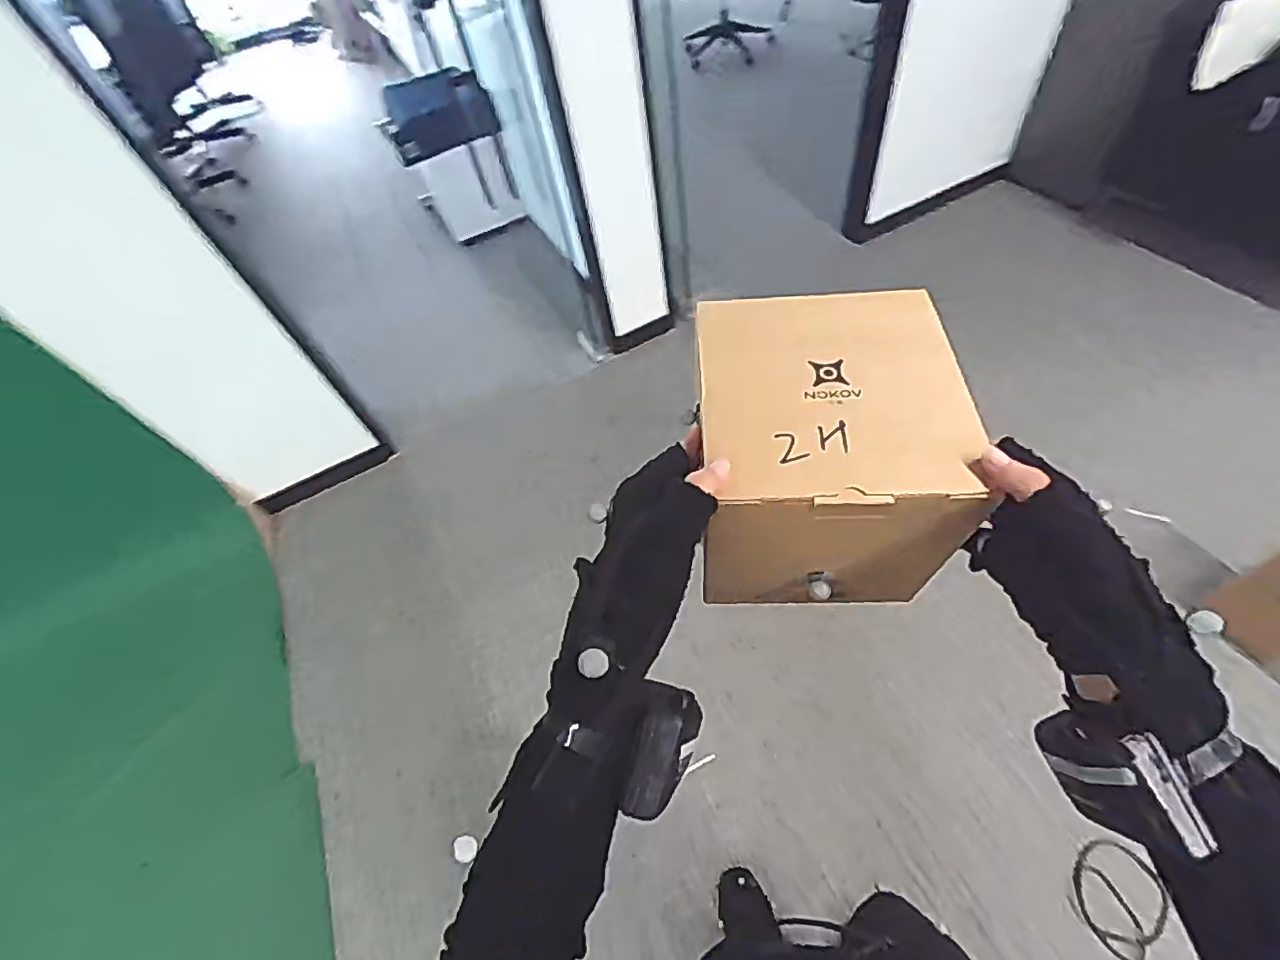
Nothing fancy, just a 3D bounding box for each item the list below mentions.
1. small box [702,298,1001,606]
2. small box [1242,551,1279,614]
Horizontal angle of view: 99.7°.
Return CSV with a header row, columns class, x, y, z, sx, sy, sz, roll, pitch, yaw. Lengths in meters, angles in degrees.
class,x,y,z,sx,sy,sz,roll,pitch,yaw
small box,0.133,-0.017,0.422,0.168,0.176,0.179,-1,57,6
small box,1.438,0.199,1.118,0.179,0.176,0.168,-26,54,-10
